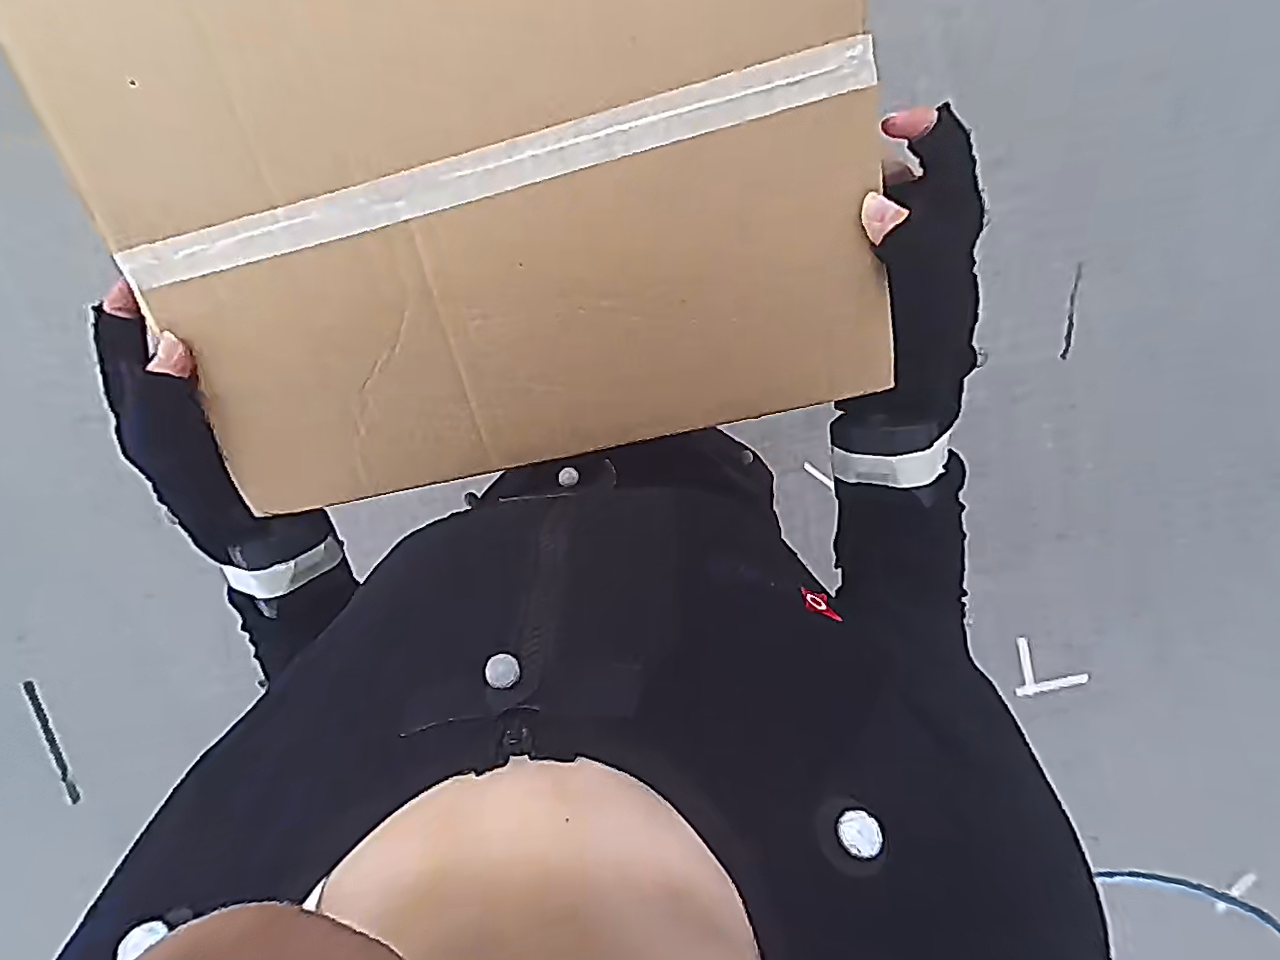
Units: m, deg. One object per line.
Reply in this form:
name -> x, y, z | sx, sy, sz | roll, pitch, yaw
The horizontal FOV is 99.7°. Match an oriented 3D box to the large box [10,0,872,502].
large box -> -0.083, -0.218, 0.425 | 0.408, 0.320, 0.320 | -11, 110, 7
